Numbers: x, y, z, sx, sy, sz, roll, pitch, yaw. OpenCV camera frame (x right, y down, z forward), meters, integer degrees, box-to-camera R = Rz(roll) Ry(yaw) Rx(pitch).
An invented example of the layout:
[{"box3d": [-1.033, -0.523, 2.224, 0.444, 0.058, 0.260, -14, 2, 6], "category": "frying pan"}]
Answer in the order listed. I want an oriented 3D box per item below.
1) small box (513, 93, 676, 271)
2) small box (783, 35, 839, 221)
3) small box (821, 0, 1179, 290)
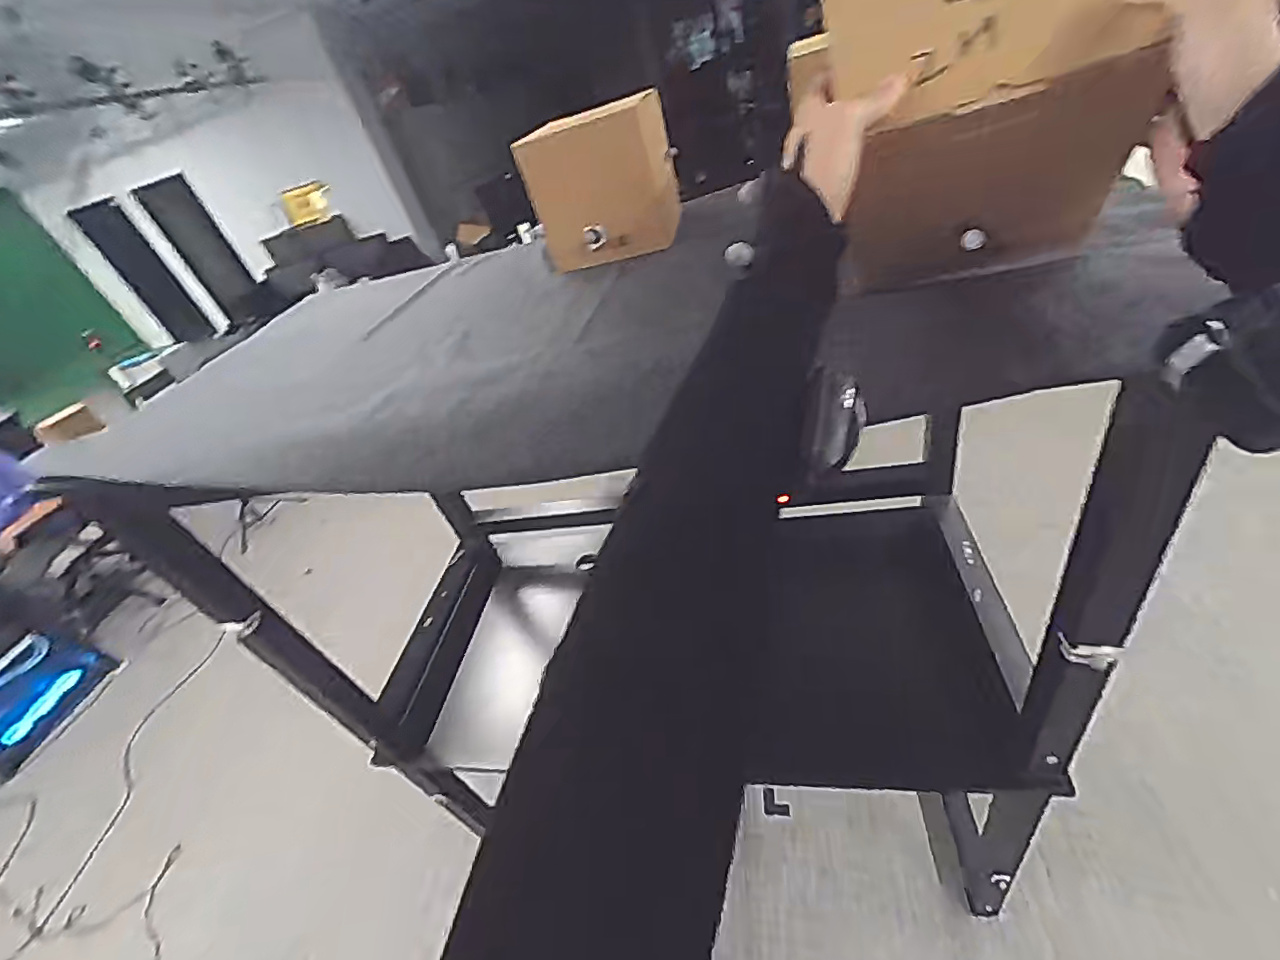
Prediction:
[{"box3d": [-0.050, -0.414, 0.758, 0.168, 0.176, 0.179, -7, 38, 16], "category": "small box"}, {"box3d": [0.264, -0.421, 0.630, 0.168, 0.176, 0.179, -3, 41, 20], "category": "small box"}, {"box3d": [0.225, -0.271, 0.389, 0.168, 0.176, 0.179, -6, 74, 24], "category": "small box"}]
